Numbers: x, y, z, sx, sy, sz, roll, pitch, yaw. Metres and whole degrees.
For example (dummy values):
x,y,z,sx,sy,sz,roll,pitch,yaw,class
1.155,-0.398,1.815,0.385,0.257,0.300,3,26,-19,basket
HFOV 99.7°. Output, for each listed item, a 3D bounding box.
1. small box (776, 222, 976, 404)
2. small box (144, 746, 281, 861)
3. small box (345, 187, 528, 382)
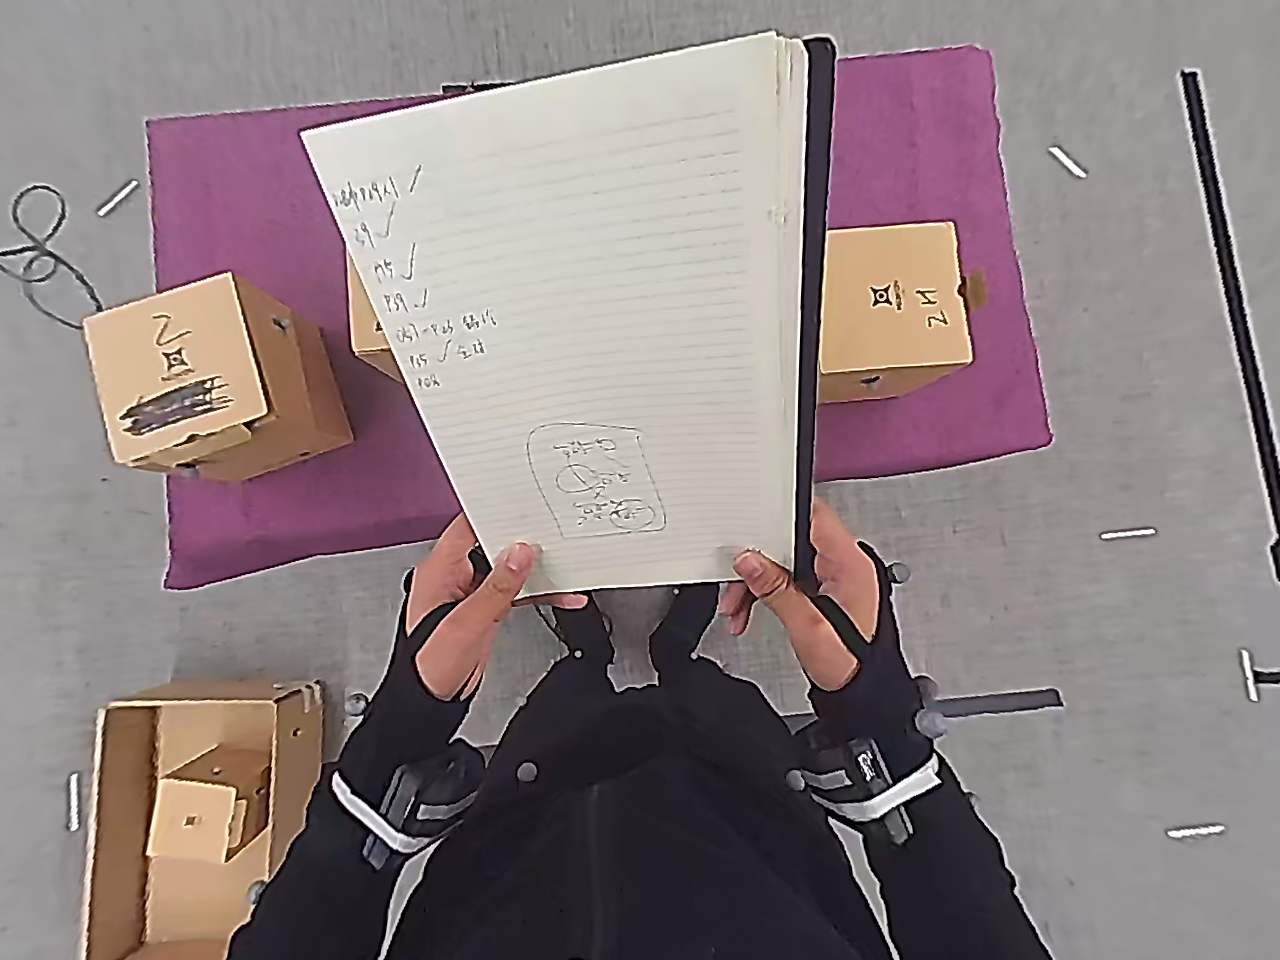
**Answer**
x,y,z,sx,sy,sz,roll,pitch,yaw,class
0.276,-0.195,0.676,0.179,0.176,0.168,-4,86,-1,small box
-0.981,0.743,1.257,0.179,0.176,0.168,8,86,-1,small box
-0.237,-0.225,0.668,0.168,0.176,0.179,-5,85,-2,small box
